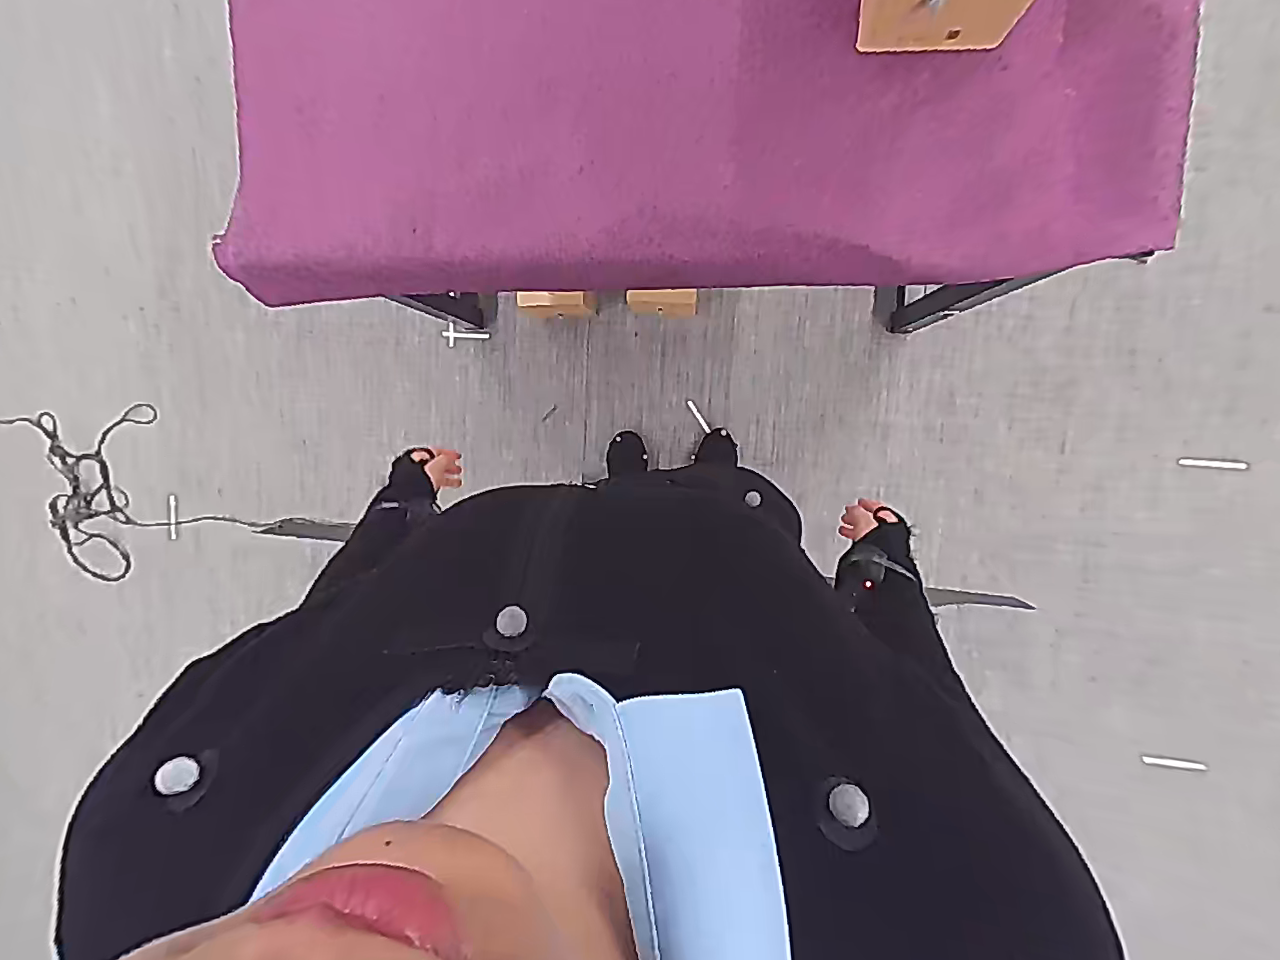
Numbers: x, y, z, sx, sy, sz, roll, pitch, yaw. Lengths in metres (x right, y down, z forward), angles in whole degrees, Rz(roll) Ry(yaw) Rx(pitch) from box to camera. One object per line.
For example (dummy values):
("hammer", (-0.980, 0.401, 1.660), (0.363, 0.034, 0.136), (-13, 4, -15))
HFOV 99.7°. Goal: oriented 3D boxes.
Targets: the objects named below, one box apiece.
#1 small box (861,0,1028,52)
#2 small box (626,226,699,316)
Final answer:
("small box", (0.349, -0.604, 0.584), (0.168, 0.176, 0.179), (4, 95, 6))
("small box", (0.060, -0.515, 1.355), (0.168, 0.176, 0.179), (4, 96, 4))
